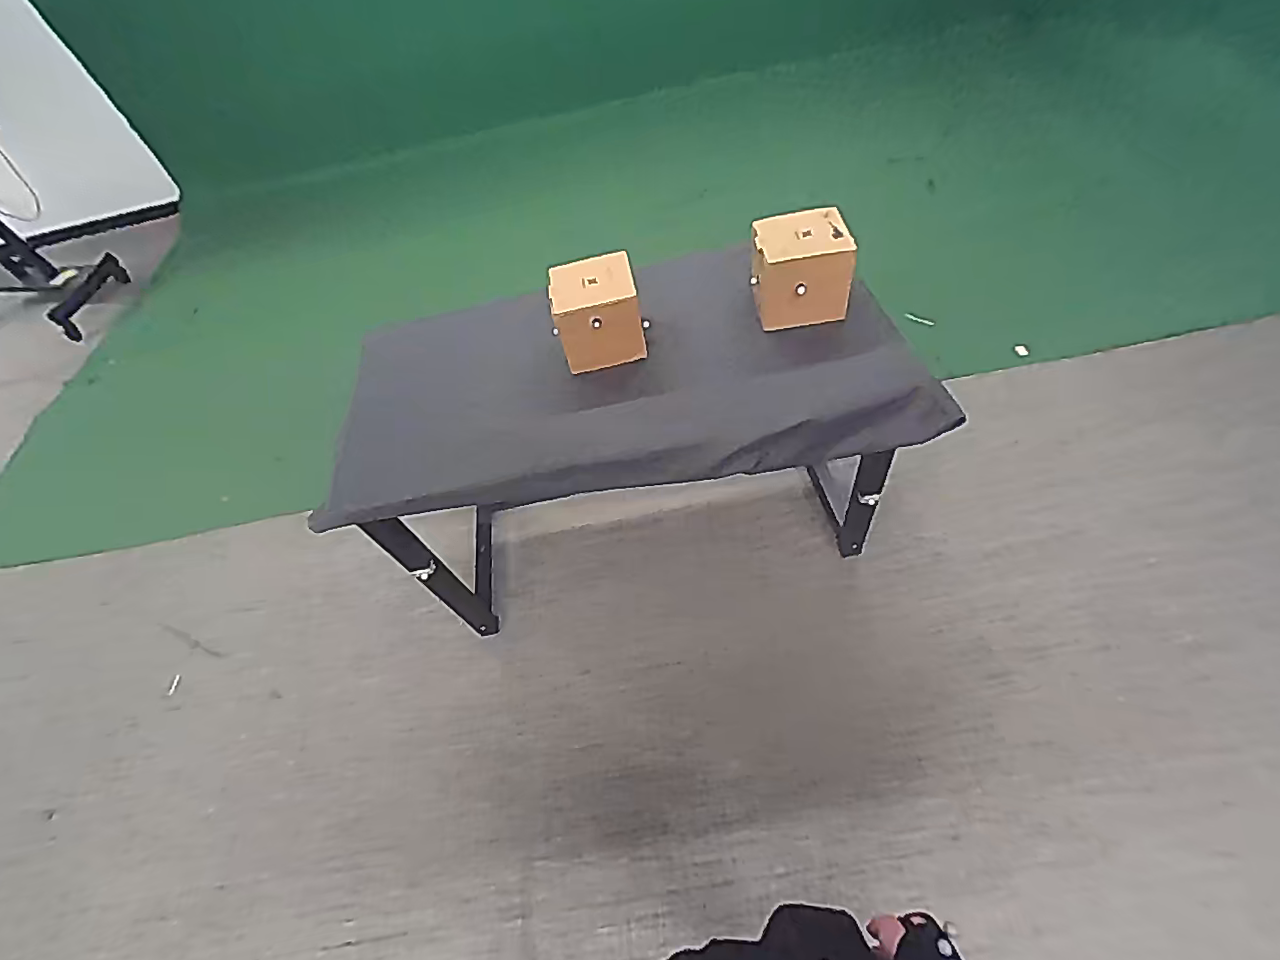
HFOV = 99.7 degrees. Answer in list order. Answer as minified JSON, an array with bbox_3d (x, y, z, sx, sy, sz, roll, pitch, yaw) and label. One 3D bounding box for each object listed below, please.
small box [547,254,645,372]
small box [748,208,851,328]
[{"bbox_3d":[-0.094,-0.360,1.184,0.179,0.176,0.168,-12,54,1],"label":"small box"},{"bbox_3d":[0.333,-0.447,1.158,0.179,0.176,0.168,-8,54,6],"label":"small box"}]
